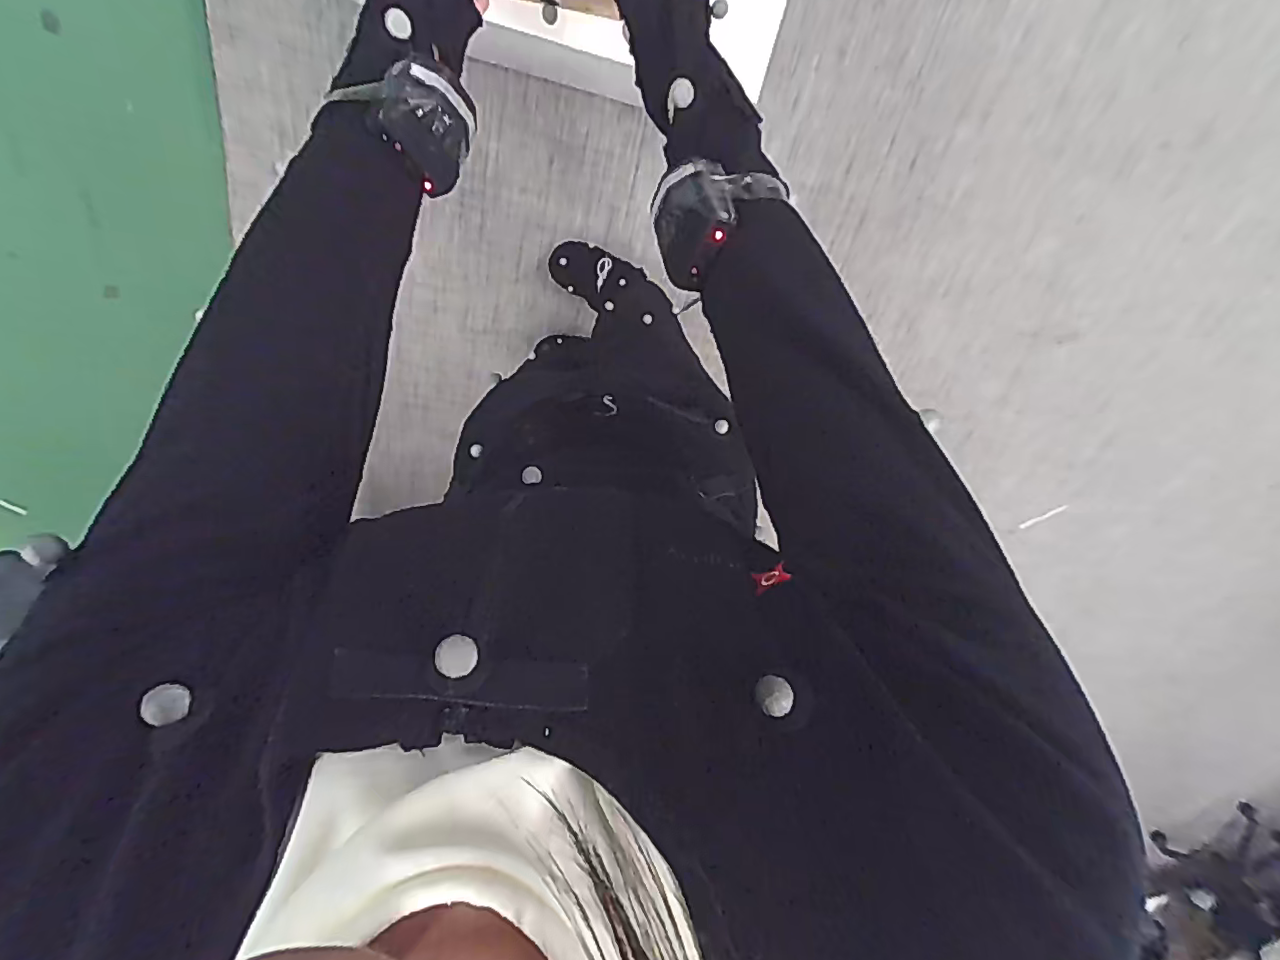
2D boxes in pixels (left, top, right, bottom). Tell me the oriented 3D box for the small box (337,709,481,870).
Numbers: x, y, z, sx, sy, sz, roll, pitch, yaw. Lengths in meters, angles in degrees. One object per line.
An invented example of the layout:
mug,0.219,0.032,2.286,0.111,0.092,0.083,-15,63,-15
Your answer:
small box,-0.371,0.504,0.890,0.179,0.176,0.168,13,121,-8

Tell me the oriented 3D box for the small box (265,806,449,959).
small box,-0.373,0.587,0.748,0.168,0.176,0.179,11,122,-6

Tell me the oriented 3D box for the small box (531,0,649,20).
small box,-0.062,-0.511,0.436,0.168,0.176,0.179,8,122,-3
